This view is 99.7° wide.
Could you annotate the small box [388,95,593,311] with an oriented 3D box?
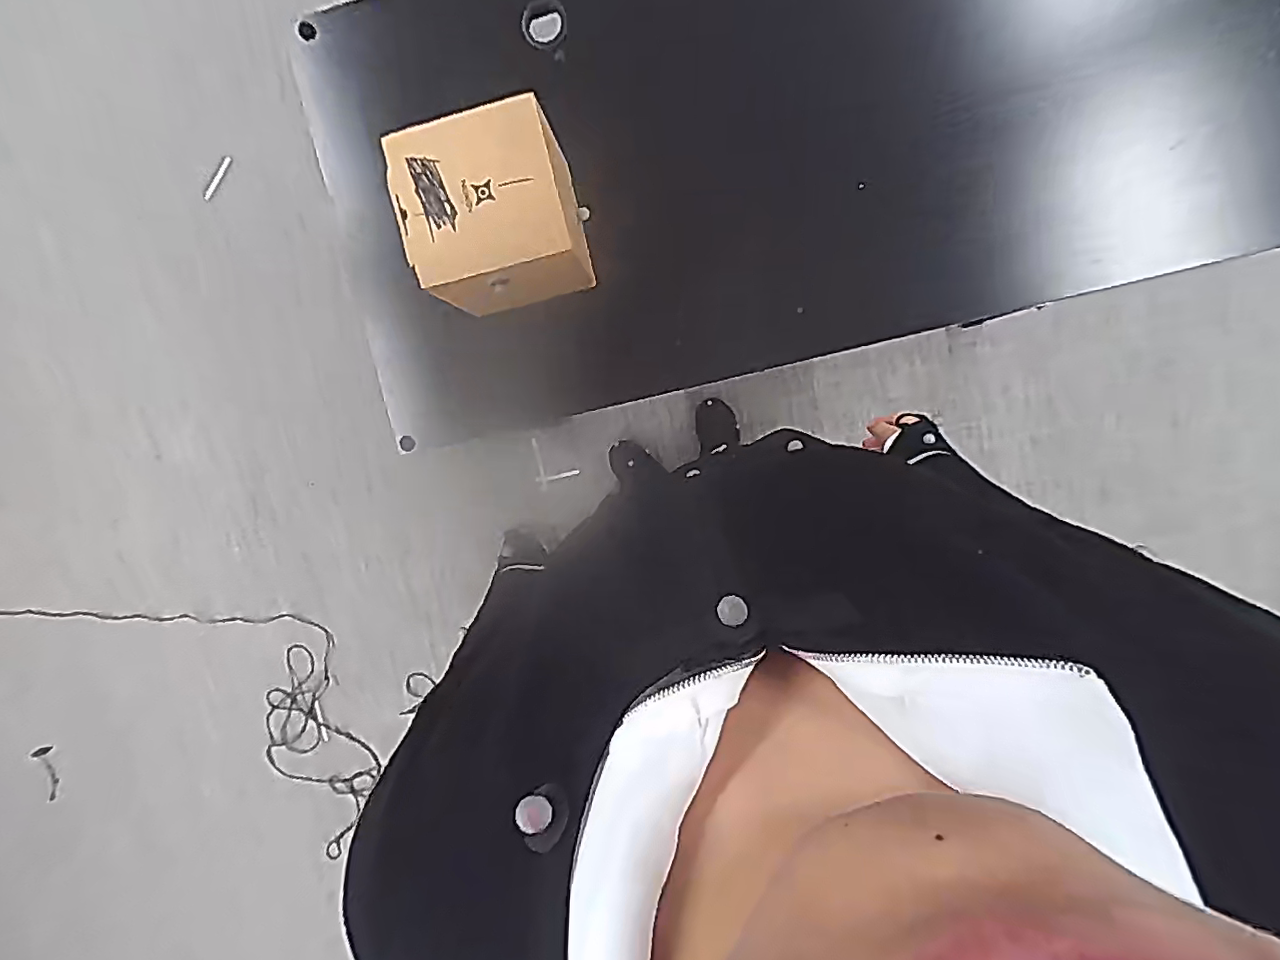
[{"bbox_3d":[-0.170,-0.321,0.668,0.179,0.176,0.168,-13,96,6],"label":"small box"}]
